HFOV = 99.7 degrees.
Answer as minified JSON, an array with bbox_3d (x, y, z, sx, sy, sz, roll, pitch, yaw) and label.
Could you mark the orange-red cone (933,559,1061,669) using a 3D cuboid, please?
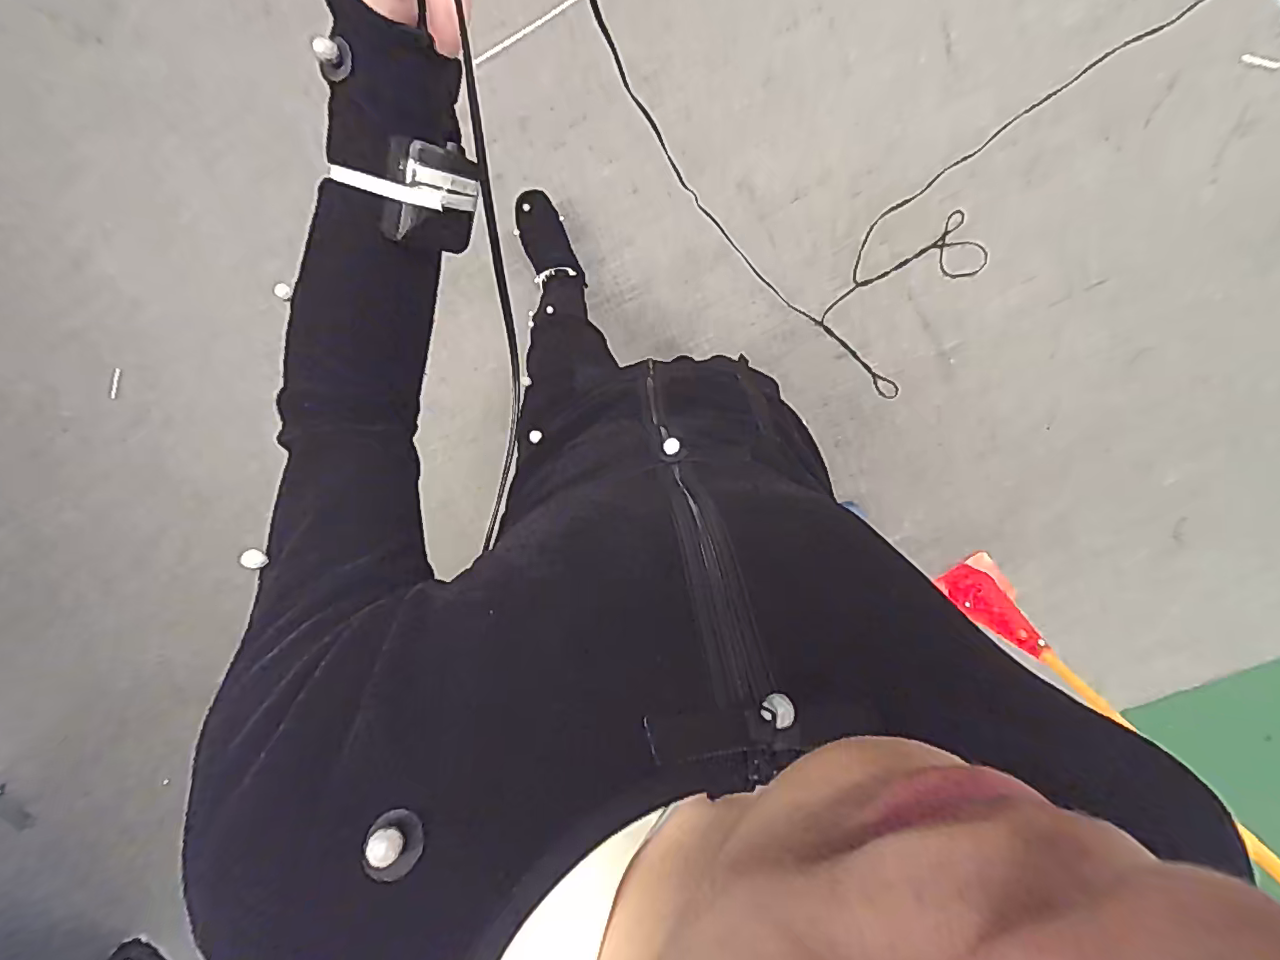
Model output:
[{"bbox_3d":[1.015,0.398,1.485,0.199,0.360,0.198,-38,100,11],"label":"orange-red cone"}]
